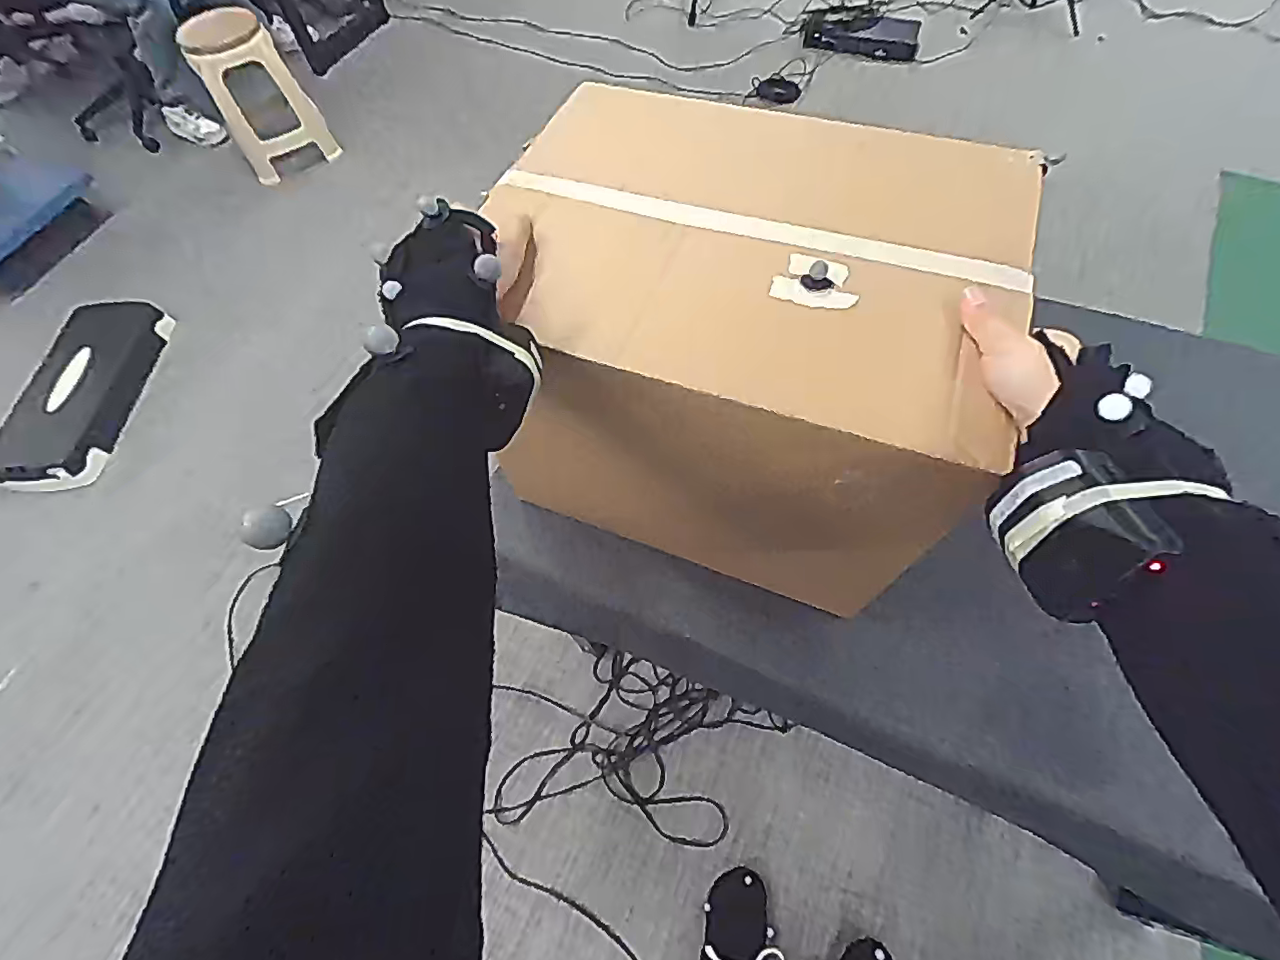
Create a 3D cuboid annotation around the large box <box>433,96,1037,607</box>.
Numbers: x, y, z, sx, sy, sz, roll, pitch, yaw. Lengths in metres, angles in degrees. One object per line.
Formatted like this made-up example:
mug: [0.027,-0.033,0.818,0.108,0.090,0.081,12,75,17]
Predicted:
large box: [0.090,-0.115,0.546,0.408,0.320,0.320,18,65,12]
